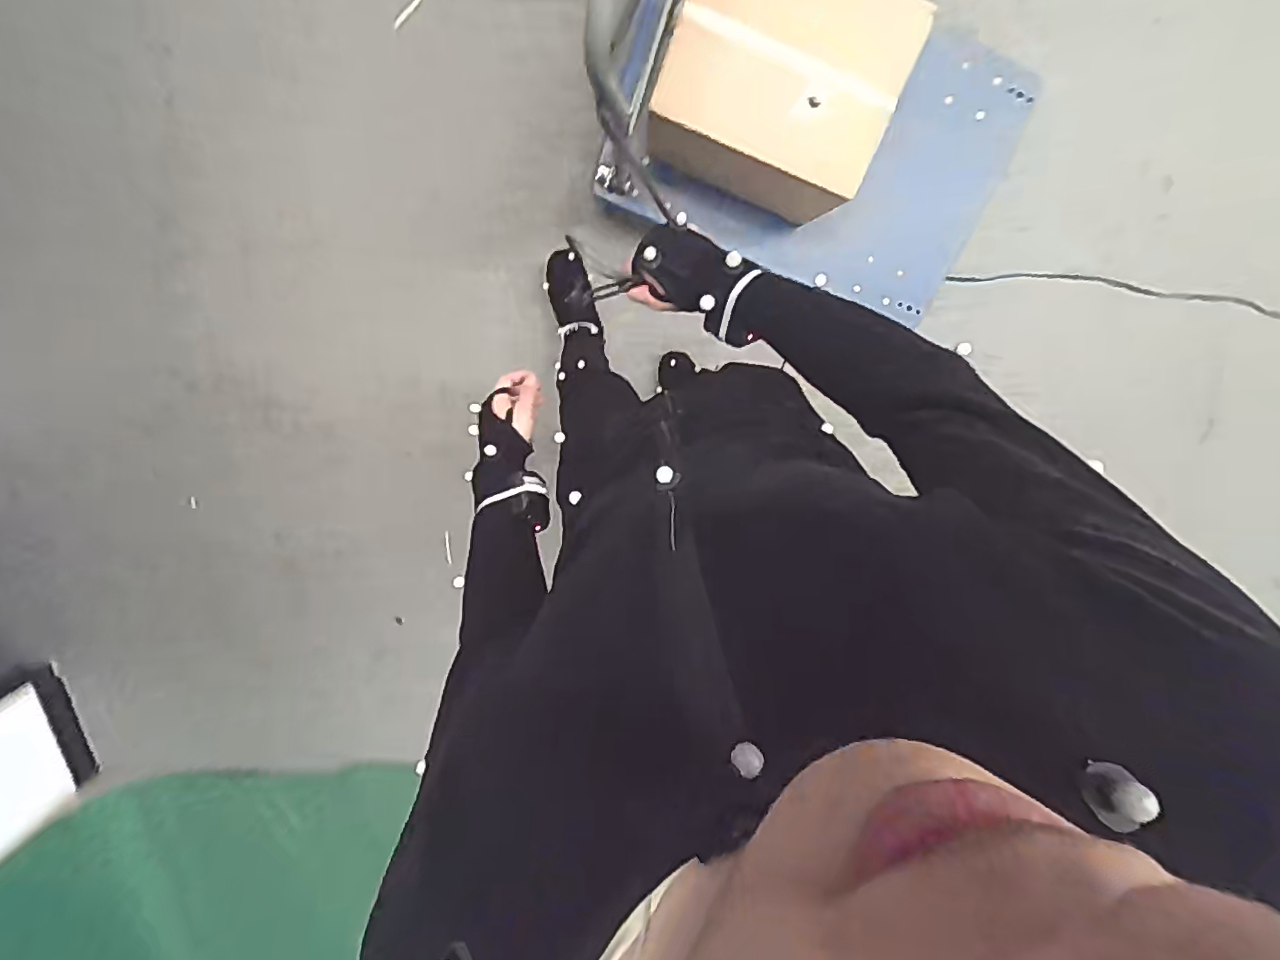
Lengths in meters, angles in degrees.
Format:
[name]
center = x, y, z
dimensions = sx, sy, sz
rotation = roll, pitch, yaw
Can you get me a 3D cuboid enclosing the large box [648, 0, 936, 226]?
[large box]
center = 0.253, -0.747, 1.060
dimensions = 0.408, 0.320, 0.320
rotation = 20, 107, -7
